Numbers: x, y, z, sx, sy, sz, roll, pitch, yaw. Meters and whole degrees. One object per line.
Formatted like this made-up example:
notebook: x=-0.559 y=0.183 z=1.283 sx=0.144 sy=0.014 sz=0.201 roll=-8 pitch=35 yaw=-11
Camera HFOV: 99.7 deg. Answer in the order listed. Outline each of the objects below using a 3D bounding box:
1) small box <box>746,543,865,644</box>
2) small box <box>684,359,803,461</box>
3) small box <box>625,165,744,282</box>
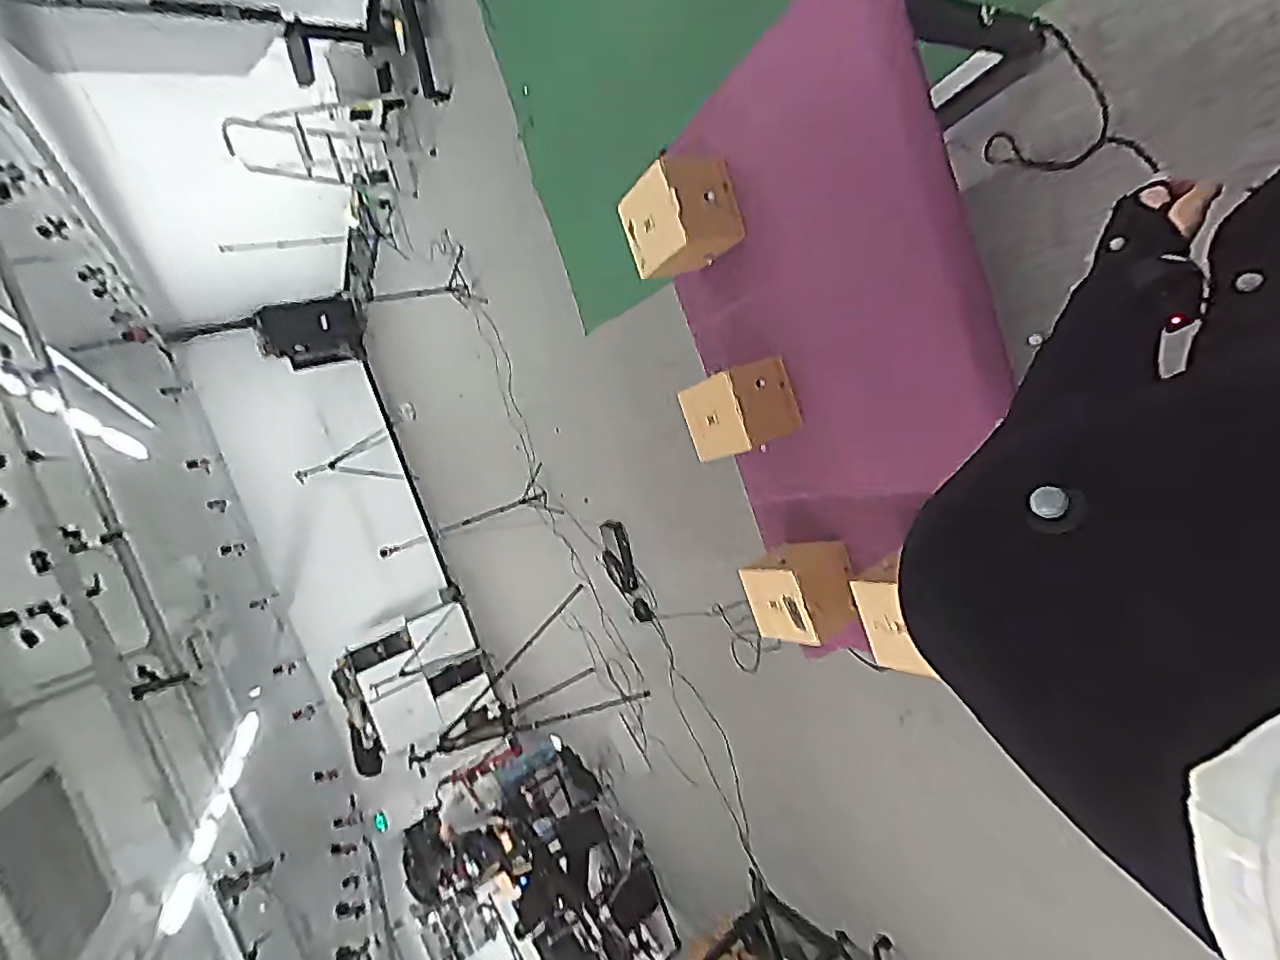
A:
small box: x=0.375 y=0.246 z=1.207 sx=0.179 sy=0.176 sz=0.168 roll=-17 pitch=94 yaw=60
small box: x=0.233 y=-0.153 z=1.189 sx=0.179 sy=0.176 sz=0.168 roll=-14 pitch=96 yaw=60
small box: x=0.101 y=-0.546 z=1.151 sx=0.179 sy=0.176 sz=0.168 roll=-12 pitch=98 yaw=59
